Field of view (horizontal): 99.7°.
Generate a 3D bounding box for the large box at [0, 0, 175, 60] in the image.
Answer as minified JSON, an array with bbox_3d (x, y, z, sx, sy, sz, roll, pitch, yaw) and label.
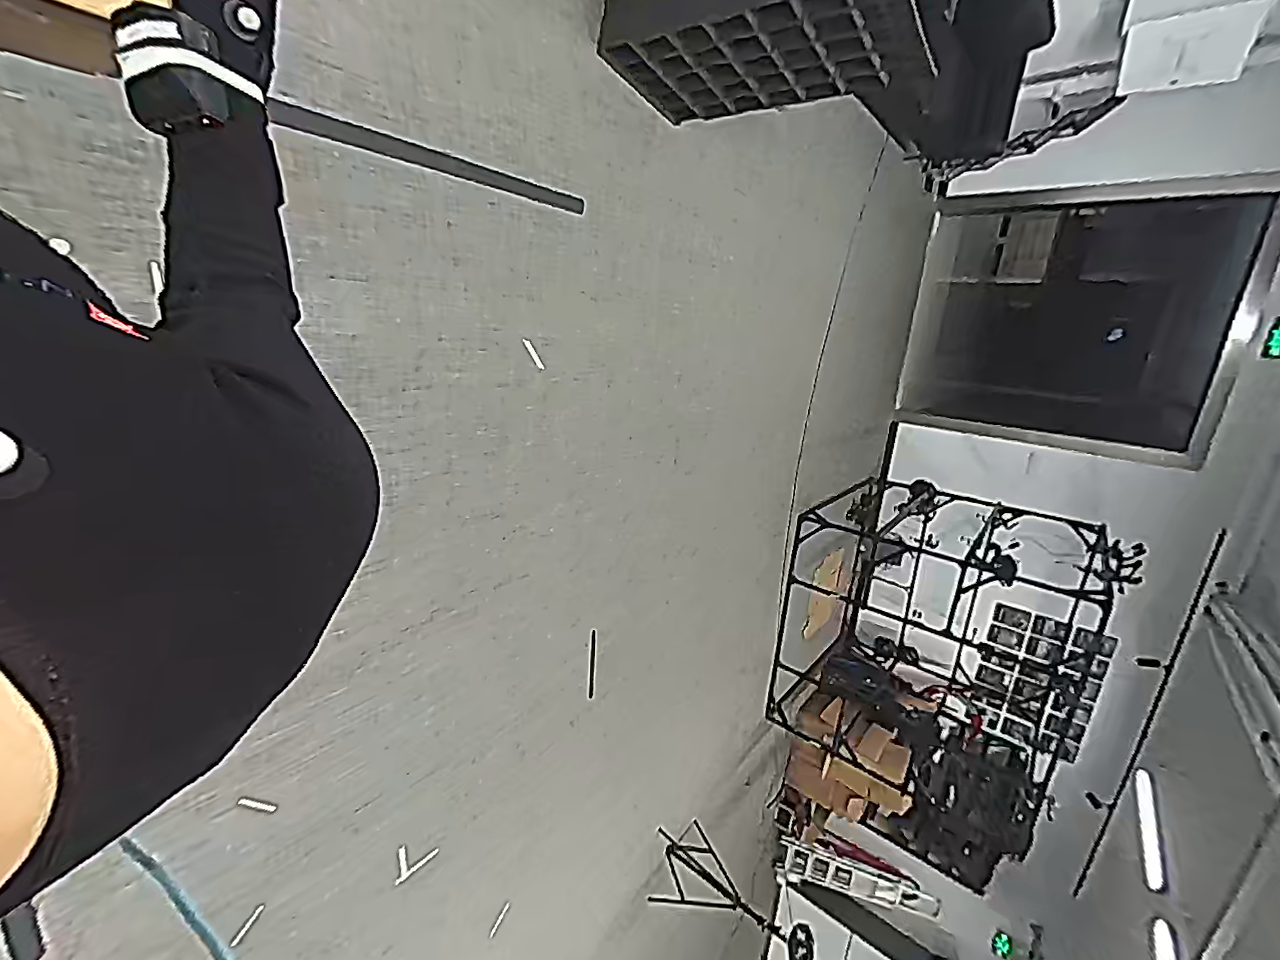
[{"bbox_3d":[-0.552,-0.475,0.267,0.408,0.320,0.320,-17,124,-50],"label":"large box"}]
